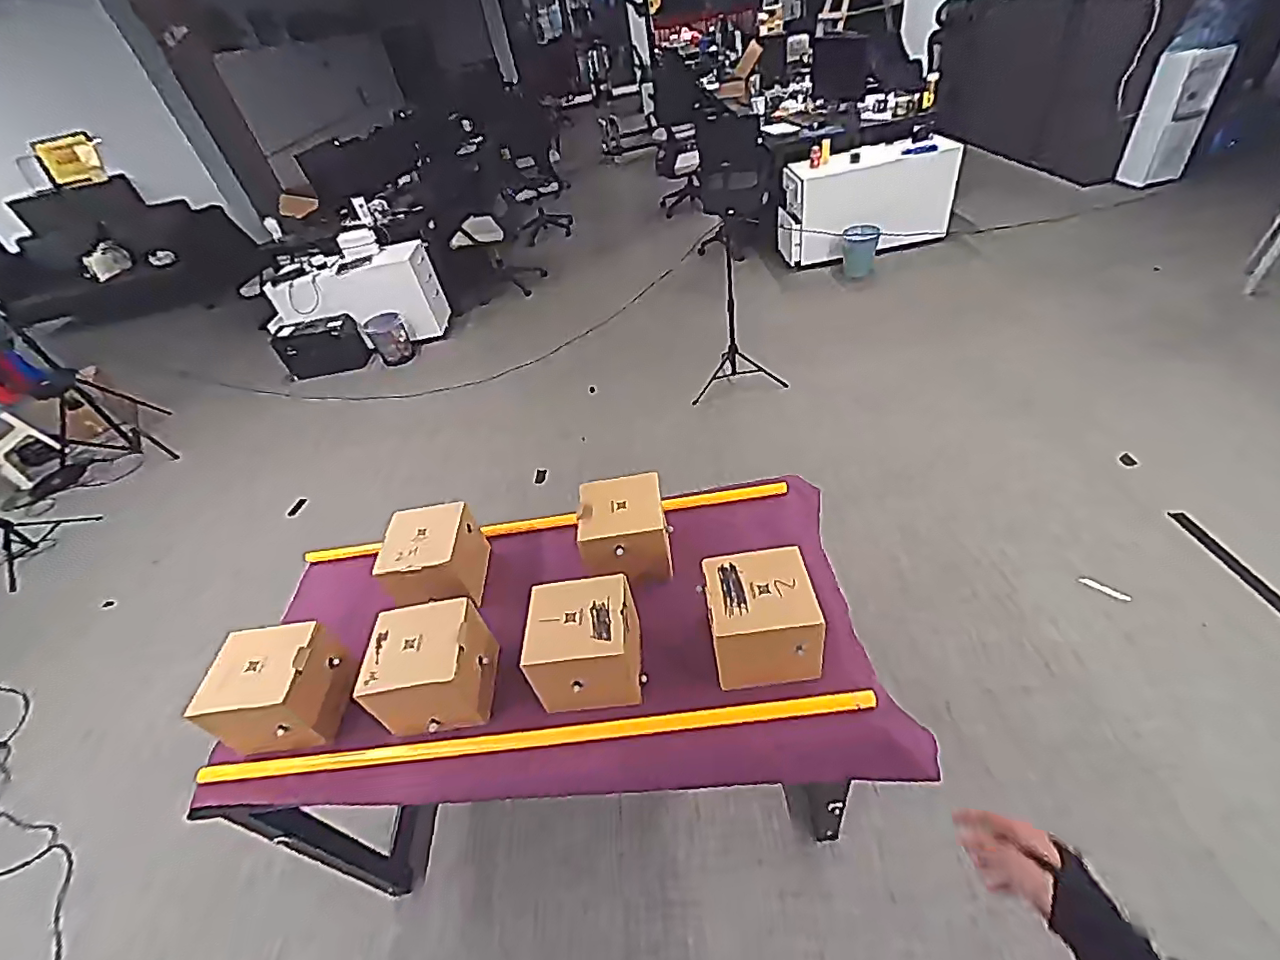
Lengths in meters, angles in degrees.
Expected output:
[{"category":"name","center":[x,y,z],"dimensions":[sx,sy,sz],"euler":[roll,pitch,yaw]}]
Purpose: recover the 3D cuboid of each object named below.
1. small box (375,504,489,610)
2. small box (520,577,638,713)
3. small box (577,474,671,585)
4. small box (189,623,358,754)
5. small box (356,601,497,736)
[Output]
[{"category":"small box","center":[-0.447,0.180,1.198],"dimensions":[0.168,0.176,0.179],"euler":[-9,43,4]},{"category":"small box","center":[-0.099,0.300,0.979],"dimensions":[0.179,0.176,0.168],"euler":[-9,40,5]},{"category":"small box","center":[-0.030,0.113,1.170],"dimensions":[0.179,0.176,0.168],"euler":[-10,43,5]},{"category":"small box","center":[-0.669,0.393,1.017],"dimensions":[0.179,0.176,0.168],"euler":[-8,41,2]},{"category":"small box","center":[-0.378,0.349,0.997],"dimensions":[0.179,0.176,0.168],"euler":[-10,41,2]}]
